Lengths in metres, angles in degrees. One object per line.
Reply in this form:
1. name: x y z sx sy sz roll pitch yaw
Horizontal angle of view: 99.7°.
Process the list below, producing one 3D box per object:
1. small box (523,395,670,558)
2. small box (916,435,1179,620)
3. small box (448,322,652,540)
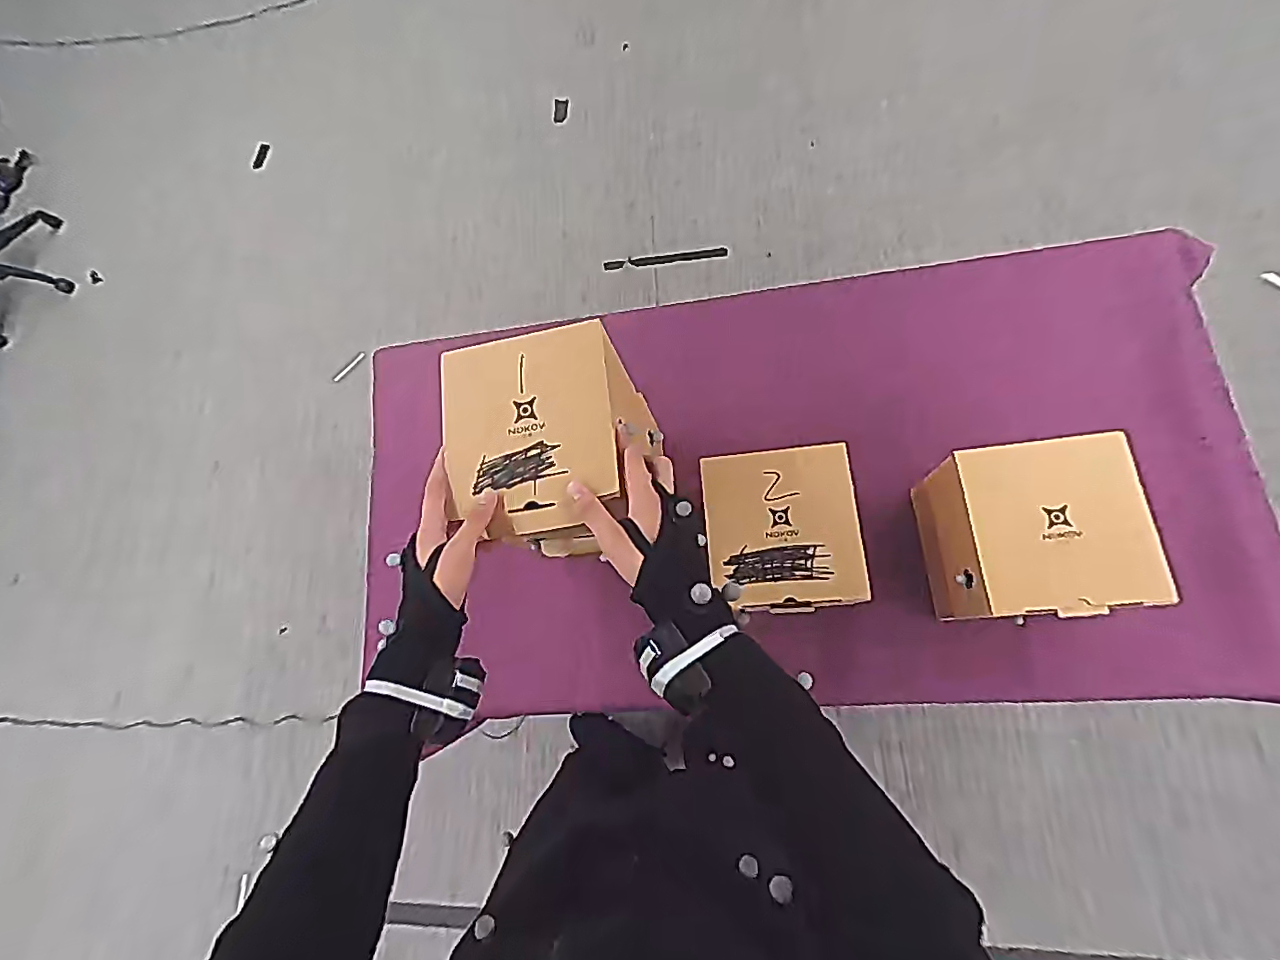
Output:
1. small box: -0.054 0.005 0.734 0.168 0.176 0.179 -6 75 10
2. small box: 0.439 0.065 0.621 0.168 0.176 0.179 -7 74 9
3. small box: -0.087 -0.036 0.578 0.168 0.176 0.179 -9 74 9
